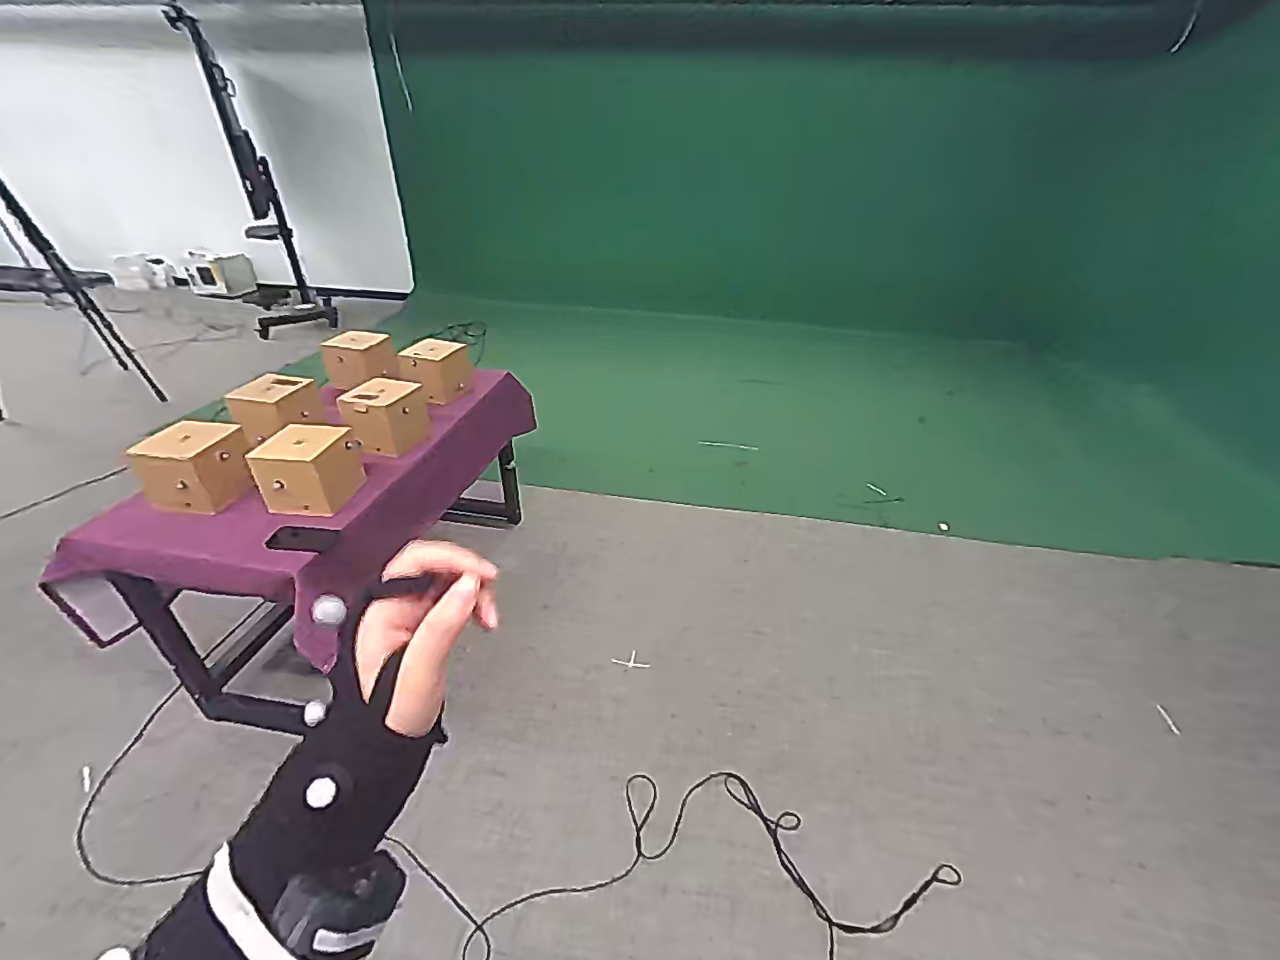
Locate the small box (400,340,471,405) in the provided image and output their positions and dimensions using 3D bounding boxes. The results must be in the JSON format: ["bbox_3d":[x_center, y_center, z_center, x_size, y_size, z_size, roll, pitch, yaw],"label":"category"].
[{"bbox_3d":[-0.724,-0.386,1.939,0.168,0.176,0.179,11,33,14],"label":"small box"}]

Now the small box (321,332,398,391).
[{"bbox_3d":[-1.029,-0.433,1.997,0.179,0.176,0.168,10,34,11],"label":"small box"}]

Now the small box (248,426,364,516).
[{"bbox_3d":[-0.830,-0.023,1.371,0.168,0.176,0.179,3,31,3],"label":"small box"}]

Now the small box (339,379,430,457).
[{"bbox_3d":[-0.759,-0.187,1.628,0.168,0.176,0.179,10,33,13],"label":"small box"}]
